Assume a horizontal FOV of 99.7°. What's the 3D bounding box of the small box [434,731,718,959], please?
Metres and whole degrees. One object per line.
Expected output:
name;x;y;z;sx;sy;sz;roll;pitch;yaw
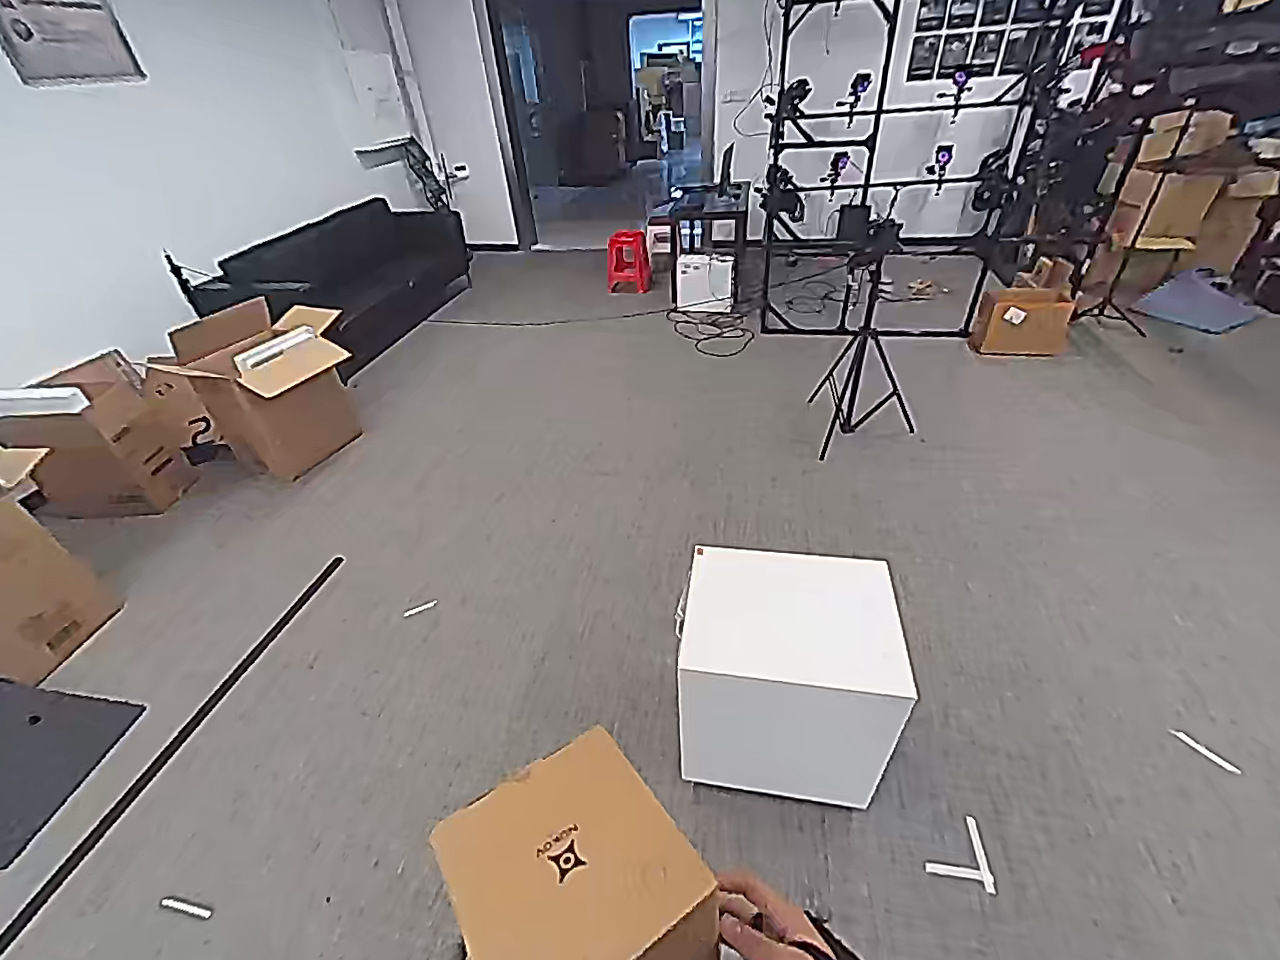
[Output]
small box;-0.047;0.364;0.451;0.168;0.176;0.179;-21;30;-28
